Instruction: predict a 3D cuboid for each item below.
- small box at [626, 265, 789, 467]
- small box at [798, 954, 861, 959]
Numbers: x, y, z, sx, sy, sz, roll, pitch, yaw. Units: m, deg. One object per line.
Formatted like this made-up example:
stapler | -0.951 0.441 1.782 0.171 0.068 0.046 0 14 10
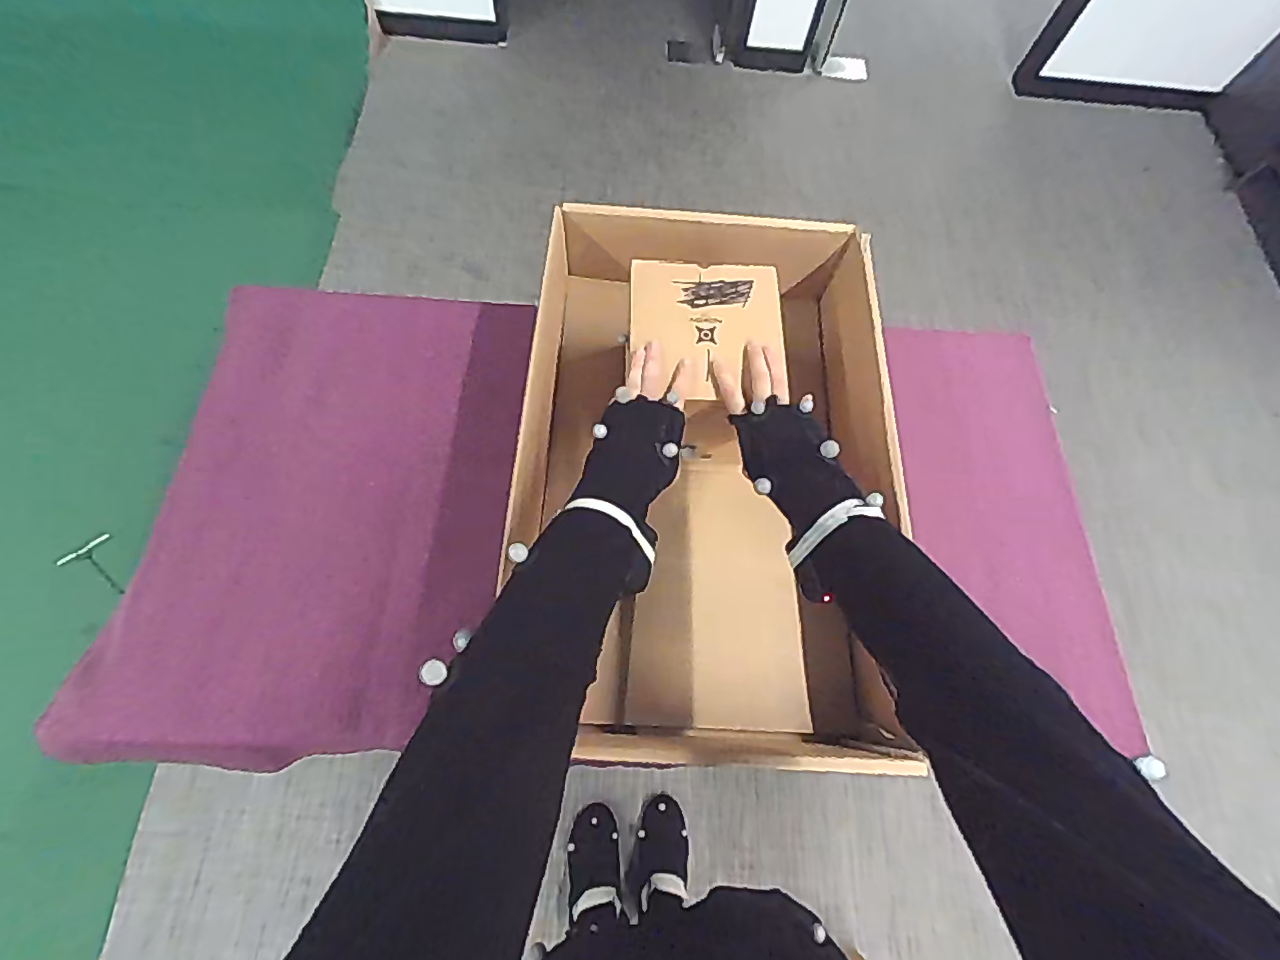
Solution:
small box | 0.068 -0.129 0.653 0.168 0.176 0.179 1 71 -3
small box | 0.388 1.060 1.046 0.179 0.176 0.168 -2 68 -5
